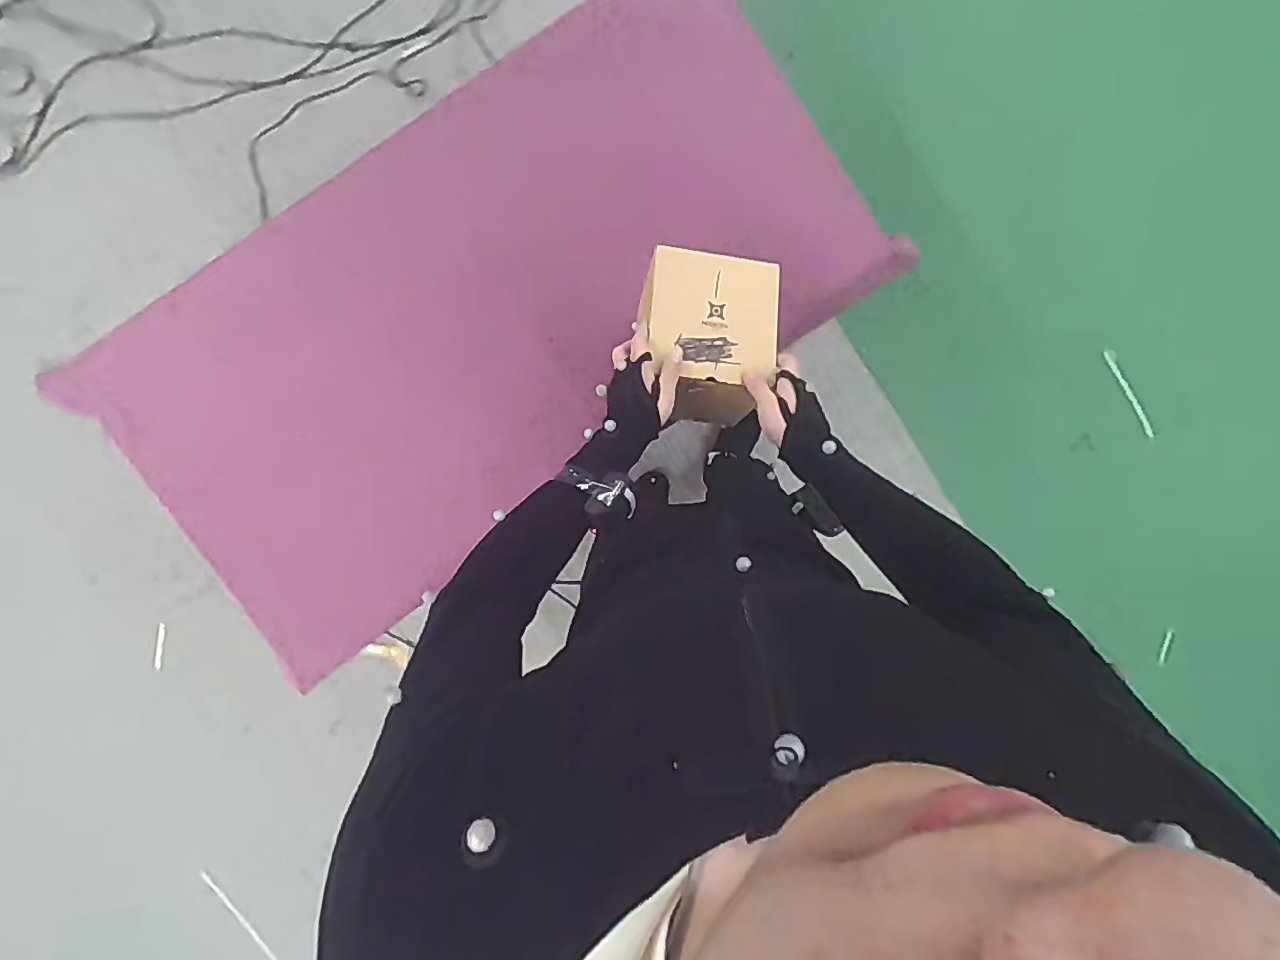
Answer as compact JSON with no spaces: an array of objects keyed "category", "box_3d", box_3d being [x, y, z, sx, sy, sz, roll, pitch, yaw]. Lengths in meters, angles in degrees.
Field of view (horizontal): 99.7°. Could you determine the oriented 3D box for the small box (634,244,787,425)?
[{"category":"small box","box_3d":[0.088,-0.186,0.743,0.168,0.176,0.179,8,78,-7]}]
